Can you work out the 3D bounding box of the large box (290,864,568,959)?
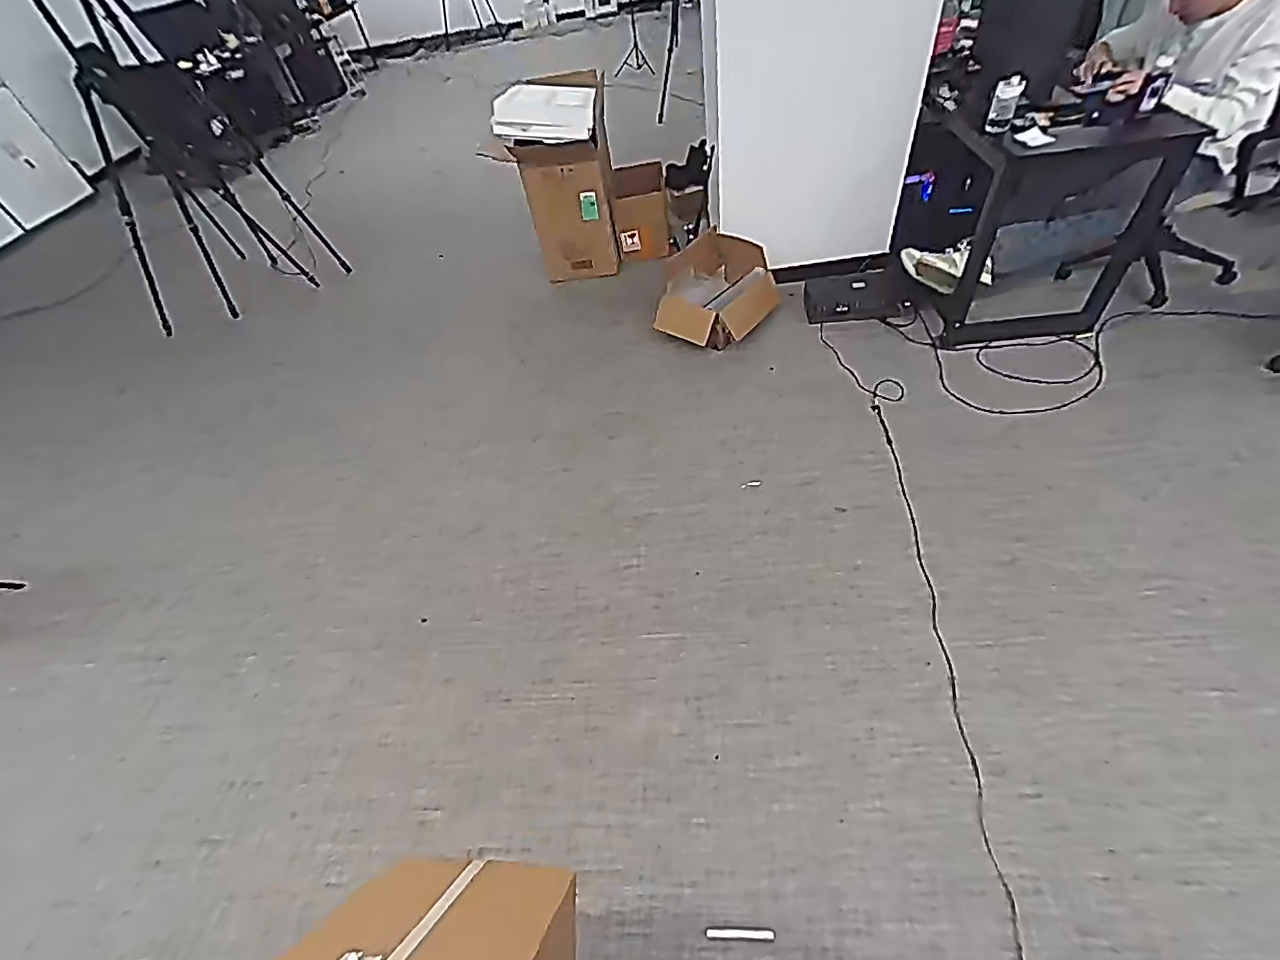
[{"bbox_3d":[-0.289,0.754,0.664,0.320,0.408,0.320,-3,80,8],"label":"large box"}]
